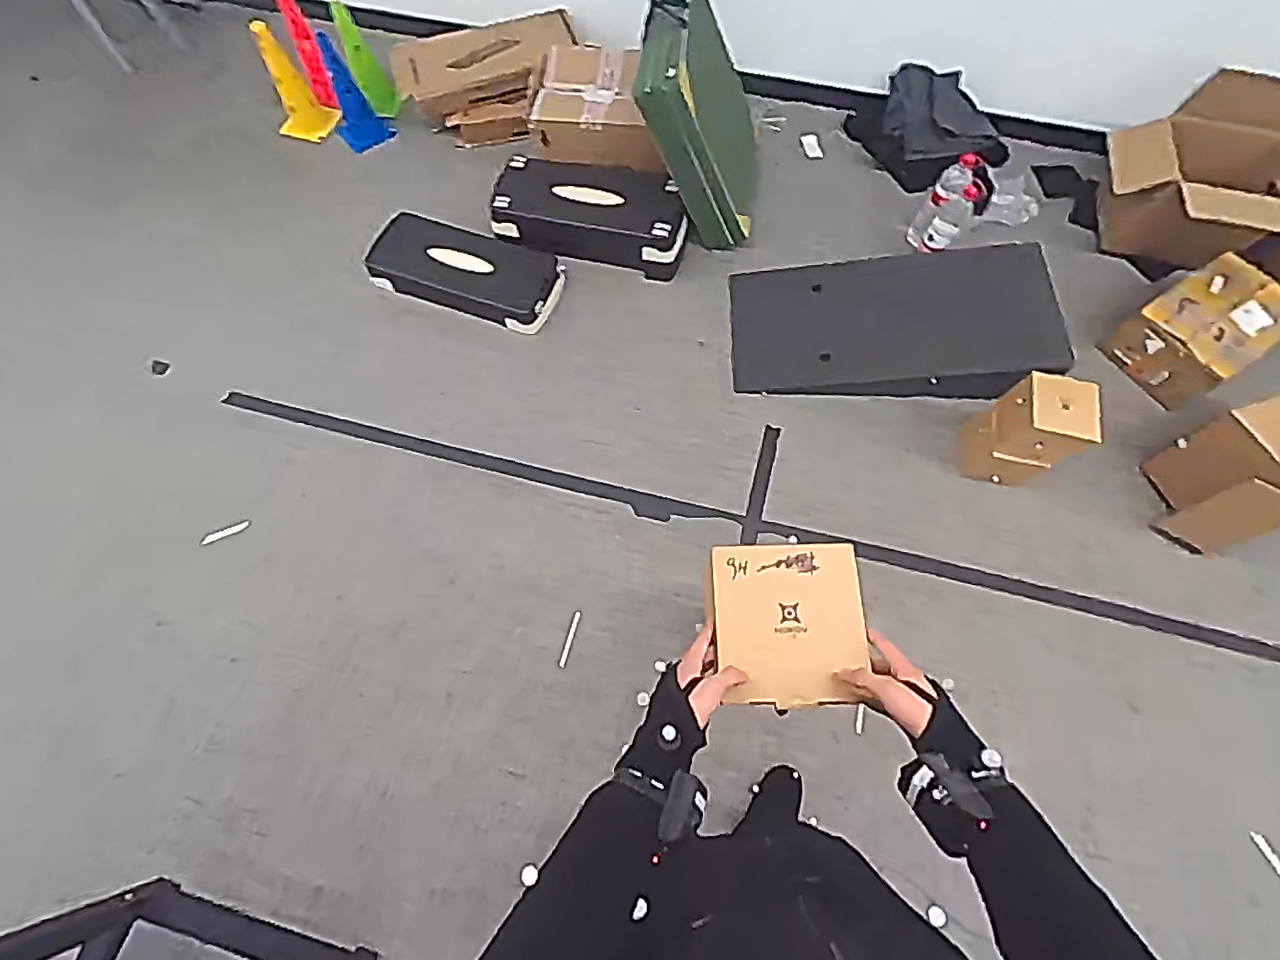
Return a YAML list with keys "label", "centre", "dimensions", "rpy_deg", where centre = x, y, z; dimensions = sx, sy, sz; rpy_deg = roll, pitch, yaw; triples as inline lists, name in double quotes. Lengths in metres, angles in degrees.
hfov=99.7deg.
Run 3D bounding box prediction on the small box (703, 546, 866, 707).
- label: "small box"
  centre: [0.168, 0.186, 0.685]
  dimensions: [0.168, 0.176, 0.179]
  rpy_deg: [-2, 71, 3]
